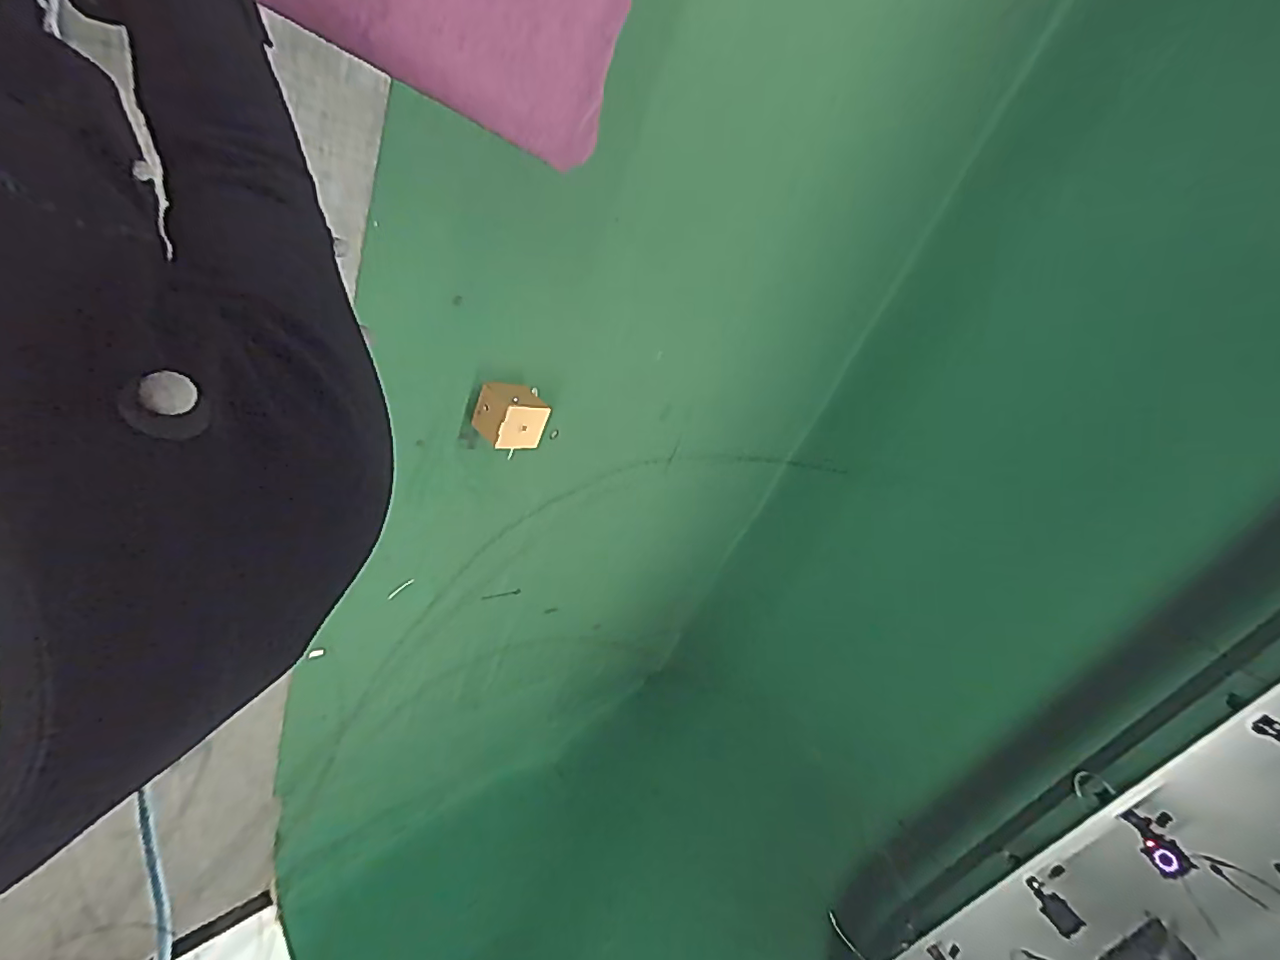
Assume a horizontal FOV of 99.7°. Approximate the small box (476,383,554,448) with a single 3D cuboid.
[{"bbox_3d":[-0.437,-0.225,1.876,0.179,0.176,0.168,-5,129,-48],"label":"small box"}]
